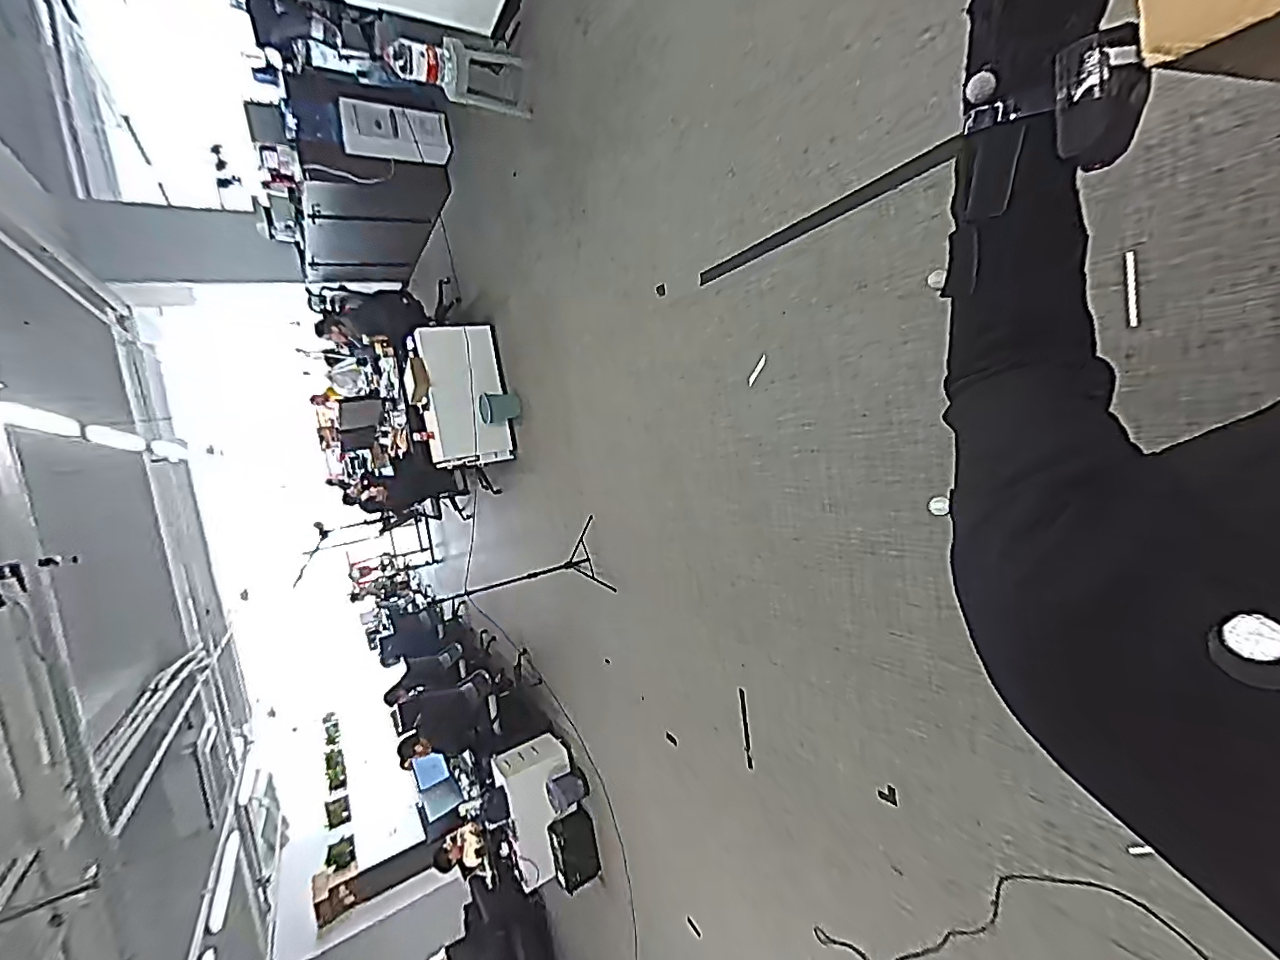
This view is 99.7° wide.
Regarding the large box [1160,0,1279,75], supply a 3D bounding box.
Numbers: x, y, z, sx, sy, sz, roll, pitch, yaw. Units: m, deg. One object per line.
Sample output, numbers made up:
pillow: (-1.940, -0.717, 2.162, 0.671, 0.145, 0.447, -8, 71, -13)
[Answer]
large box: (0.460, -0.410, 0.163, 0.408, 0.320, 0.320, 4, 112, 59)
